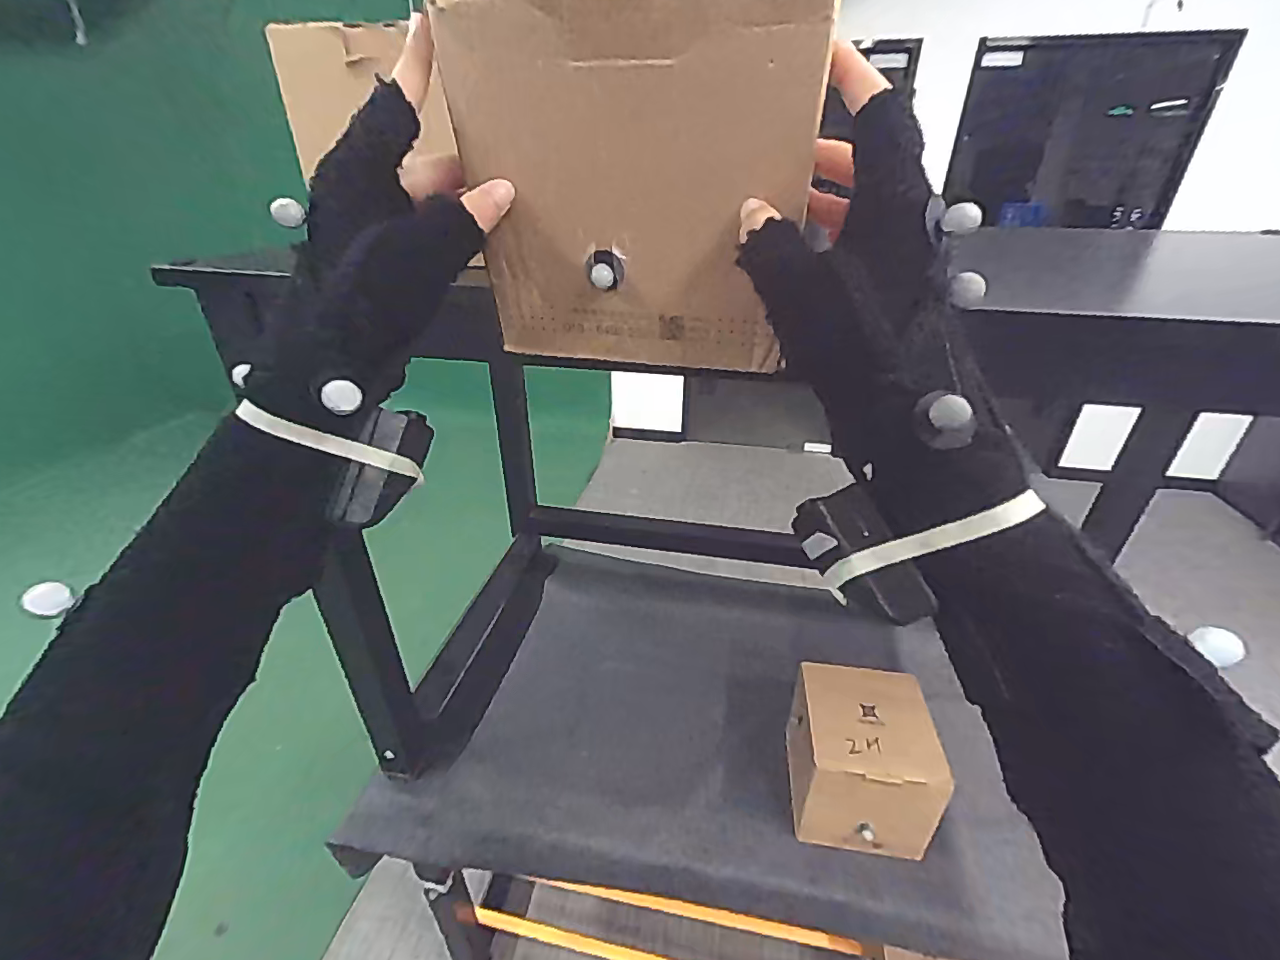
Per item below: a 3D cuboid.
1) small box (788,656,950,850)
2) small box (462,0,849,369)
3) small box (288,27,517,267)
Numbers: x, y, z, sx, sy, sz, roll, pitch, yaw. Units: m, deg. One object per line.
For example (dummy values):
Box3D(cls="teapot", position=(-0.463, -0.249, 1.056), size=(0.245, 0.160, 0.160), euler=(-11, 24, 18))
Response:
Box3D(cls="small box", position=(0.313, 0.389, 0.783), size=(0.168, 0.176, 0.179), euler=(4, 29, 8))
Box3D(cls="small box", position=(0.021, -0.190, 0.331), size=(0.168, 0.176, 0.179), euler=(7, 44, 11))
Box3D(cls="small box", position=(-0.179, -0.303, 0.513), size=(0.168, 0.176, 0.179), euler=(4, 29, 5))
